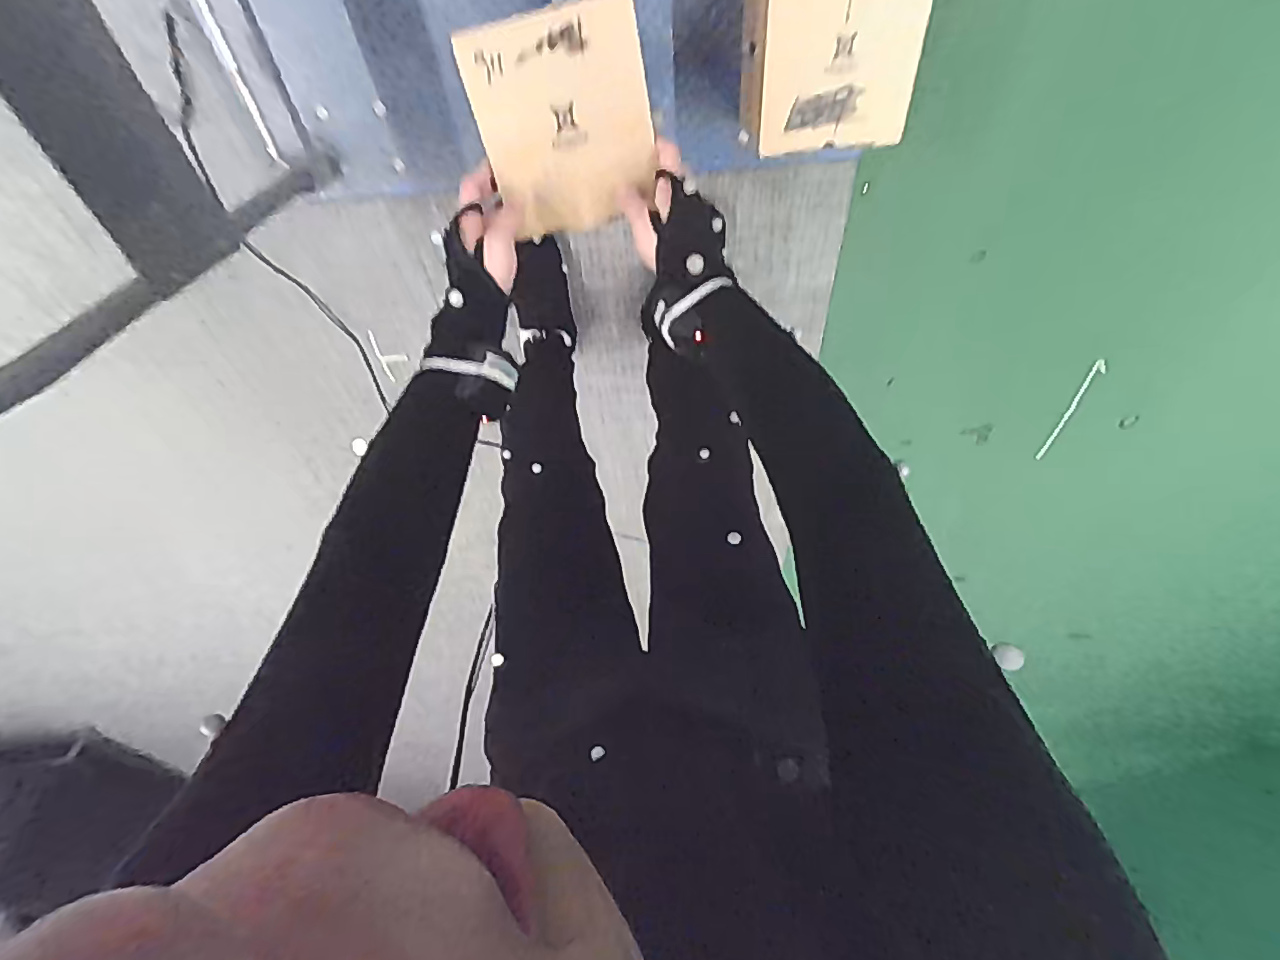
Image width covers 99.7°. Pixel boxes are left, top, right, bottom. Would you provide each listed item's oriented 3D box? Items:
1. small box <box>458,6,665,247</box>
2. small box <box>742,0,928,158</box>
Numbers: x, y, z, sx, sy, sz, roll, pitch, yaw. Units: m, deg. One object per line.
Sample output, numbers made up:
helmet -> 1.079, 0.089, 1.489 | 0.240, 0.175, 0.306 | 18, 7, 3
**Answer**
small box -> -0.068, -0.378, 0.581 | 0.168, 0.176, 0.179 | -10, 129, 5
small box -> 0.218, -0.512, 0.648 | 0.168, 0.176, 0.179 | -4, 134, 3
